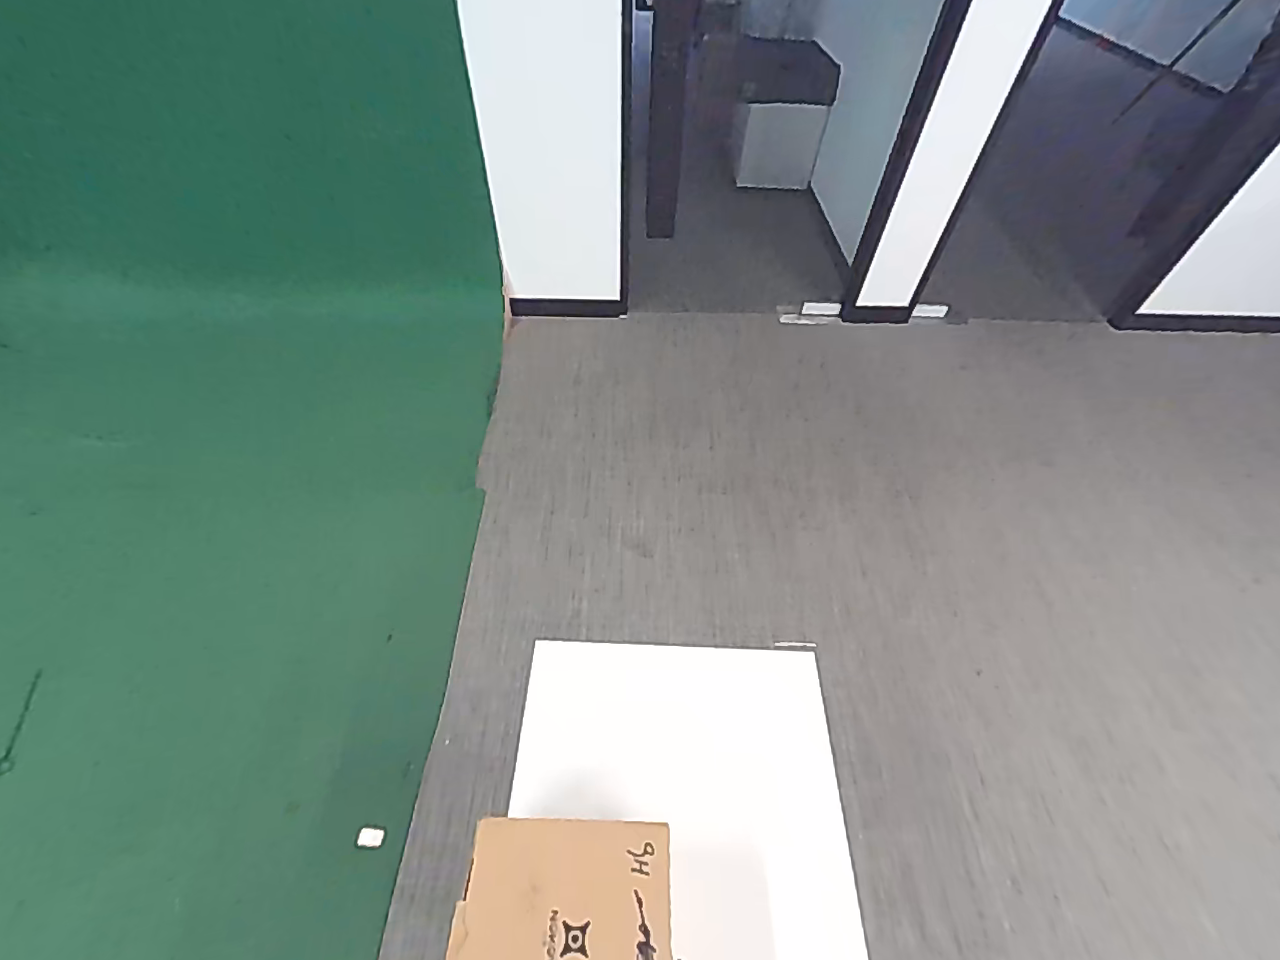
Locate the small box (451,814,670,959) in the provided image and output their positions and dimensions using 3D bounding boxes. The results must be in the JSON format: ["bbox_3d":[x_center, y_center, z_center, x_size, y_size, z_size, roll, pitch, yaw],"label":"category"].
[{"bbox_3d":[-0.065,0.420,0.497,0.179,0.176,0.168,2,49,-1],"label":"small box"}]
